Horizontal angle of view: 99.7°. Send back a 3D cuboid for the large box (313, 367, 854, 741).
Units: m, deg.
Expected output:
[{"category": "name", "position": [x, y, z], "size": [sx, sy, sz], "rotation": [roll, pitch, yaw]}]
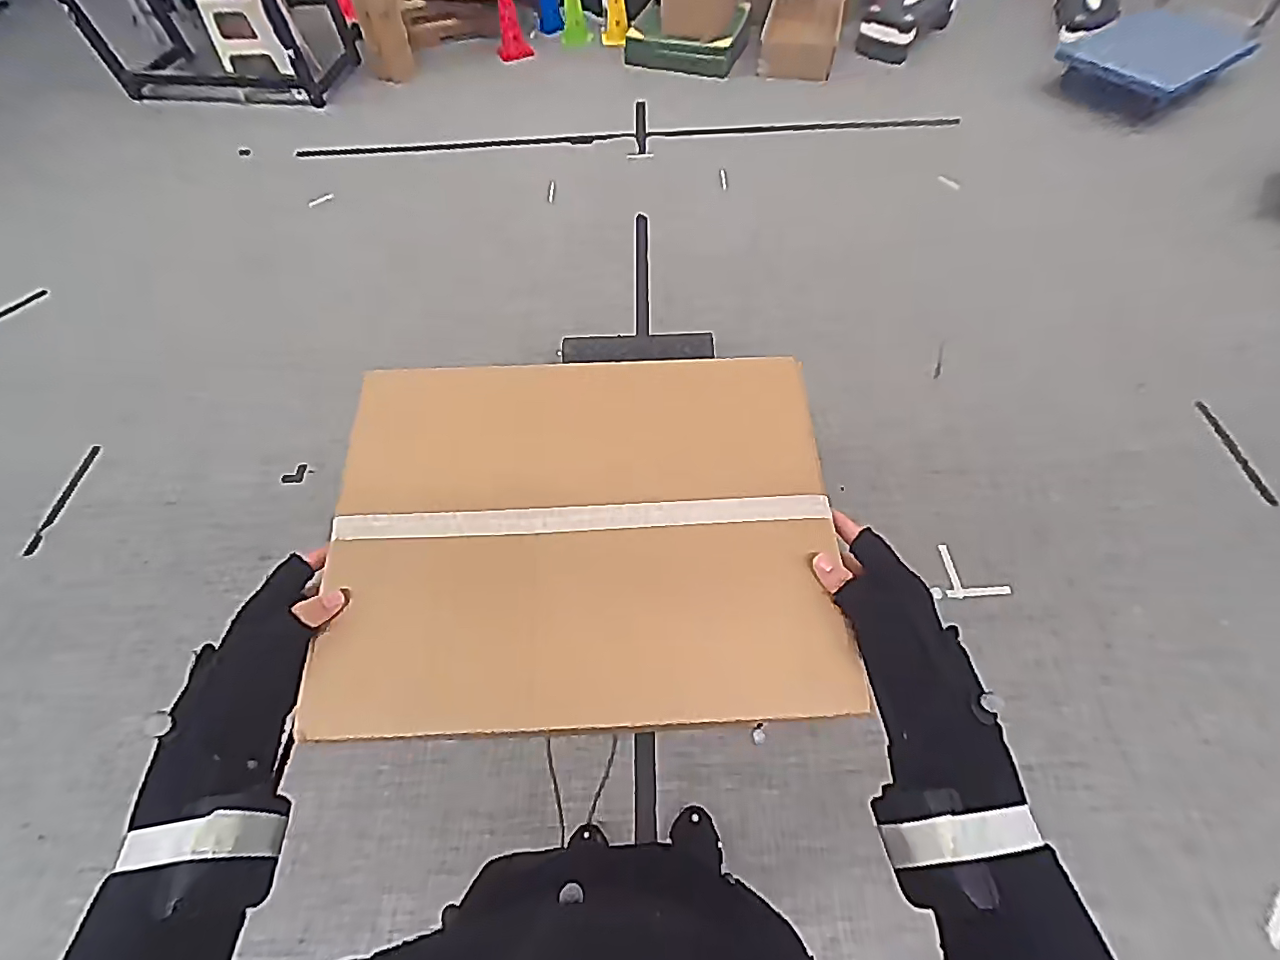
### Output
[{"category": "large box", "position": [-0.046, 0.098, 0.588], "size": [0.408, 0.320, 0.320], "rotation": [-2, 65, -2]}]
